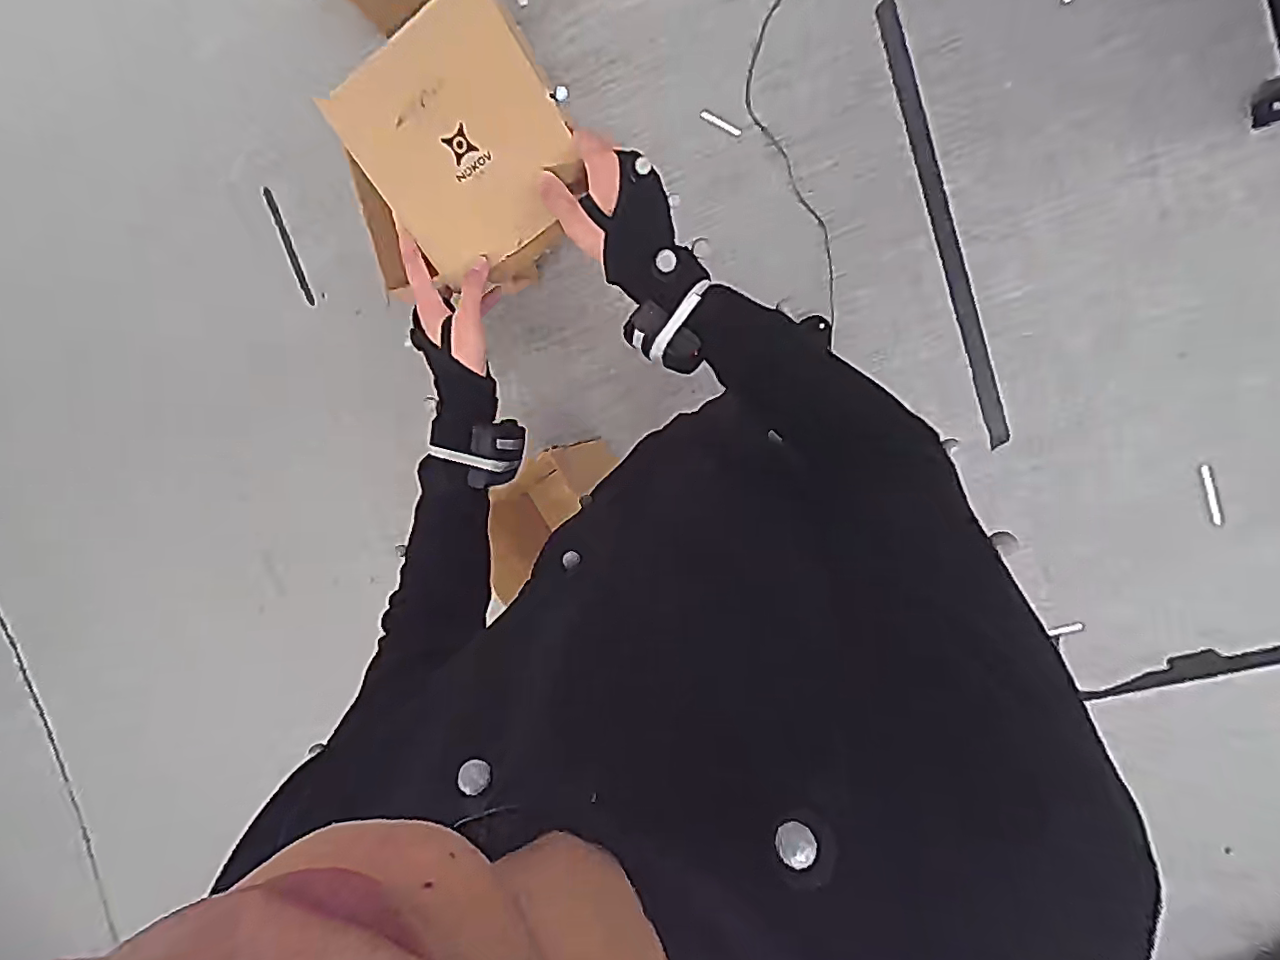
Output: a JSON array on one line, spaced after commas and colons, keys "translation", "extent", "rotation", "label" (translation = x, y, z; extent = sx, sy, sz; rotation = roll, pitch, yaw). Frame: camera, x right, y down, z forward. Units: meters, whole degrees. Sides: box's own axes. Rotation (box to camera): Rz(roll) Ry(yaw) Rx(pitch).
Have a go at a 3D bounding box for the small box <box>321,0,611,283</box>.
[{"translation": [-0.139, -0.316, 0.509], "extent": [0.168, 0.176, 0.179], "rotation": [-28, 114, 14], "label": "small box"}]
